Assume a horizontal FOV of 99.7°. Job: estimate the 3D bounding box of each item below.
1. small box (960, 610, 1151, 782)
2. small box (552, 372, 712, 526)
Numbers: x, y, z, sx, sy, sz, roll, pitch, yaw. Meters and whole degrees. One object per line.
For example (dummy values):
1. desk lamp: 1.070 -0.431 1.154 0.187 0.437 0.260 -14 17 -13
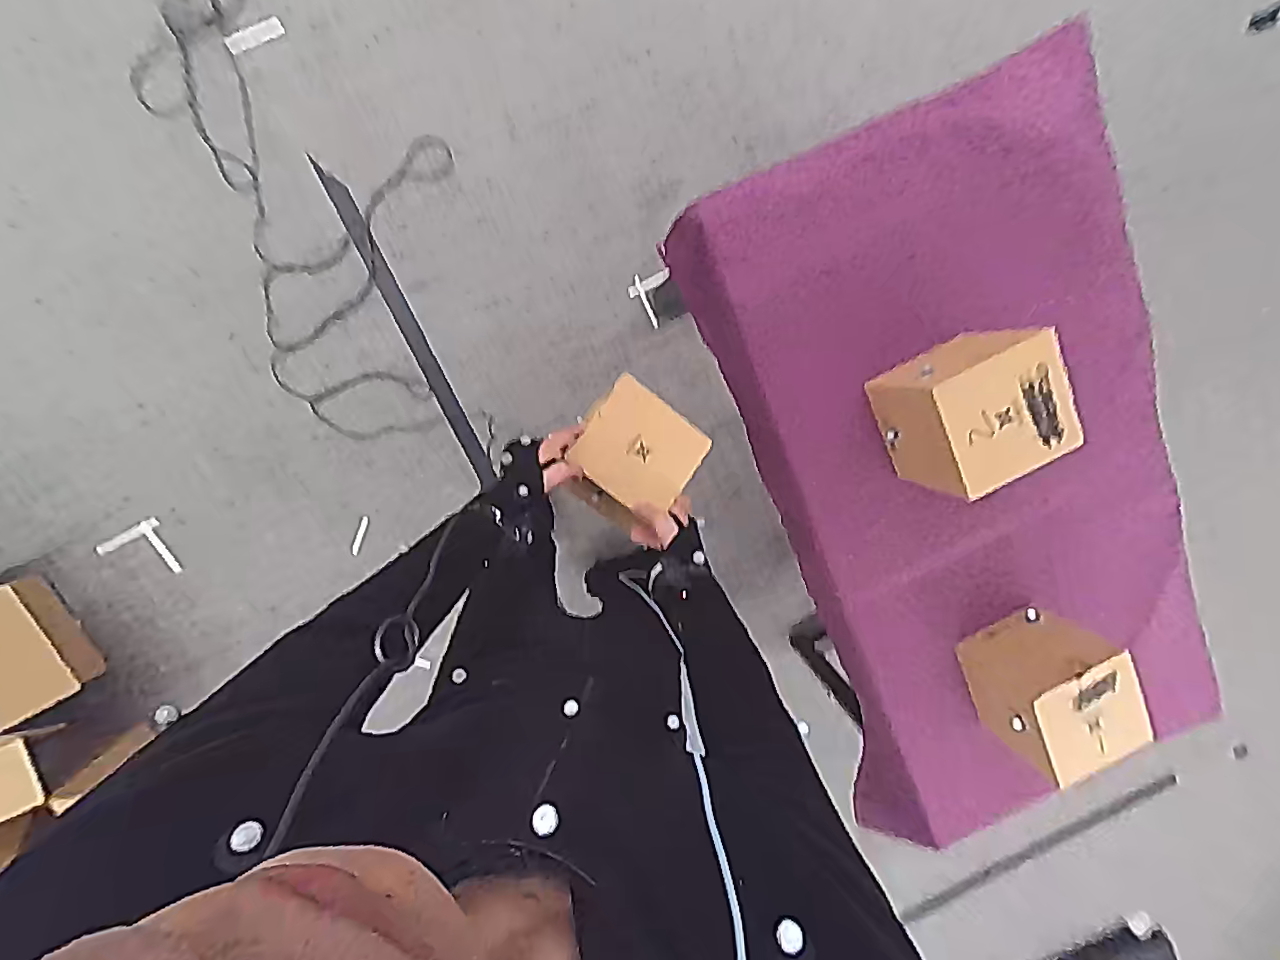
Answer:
1. small box: 0.664 0.335 0.883 0.168 0.176 0.179 -26 104 -1
2. small box: -0.021 -0.040 0.876 0.179 0.176 0.168 37 74 -9
